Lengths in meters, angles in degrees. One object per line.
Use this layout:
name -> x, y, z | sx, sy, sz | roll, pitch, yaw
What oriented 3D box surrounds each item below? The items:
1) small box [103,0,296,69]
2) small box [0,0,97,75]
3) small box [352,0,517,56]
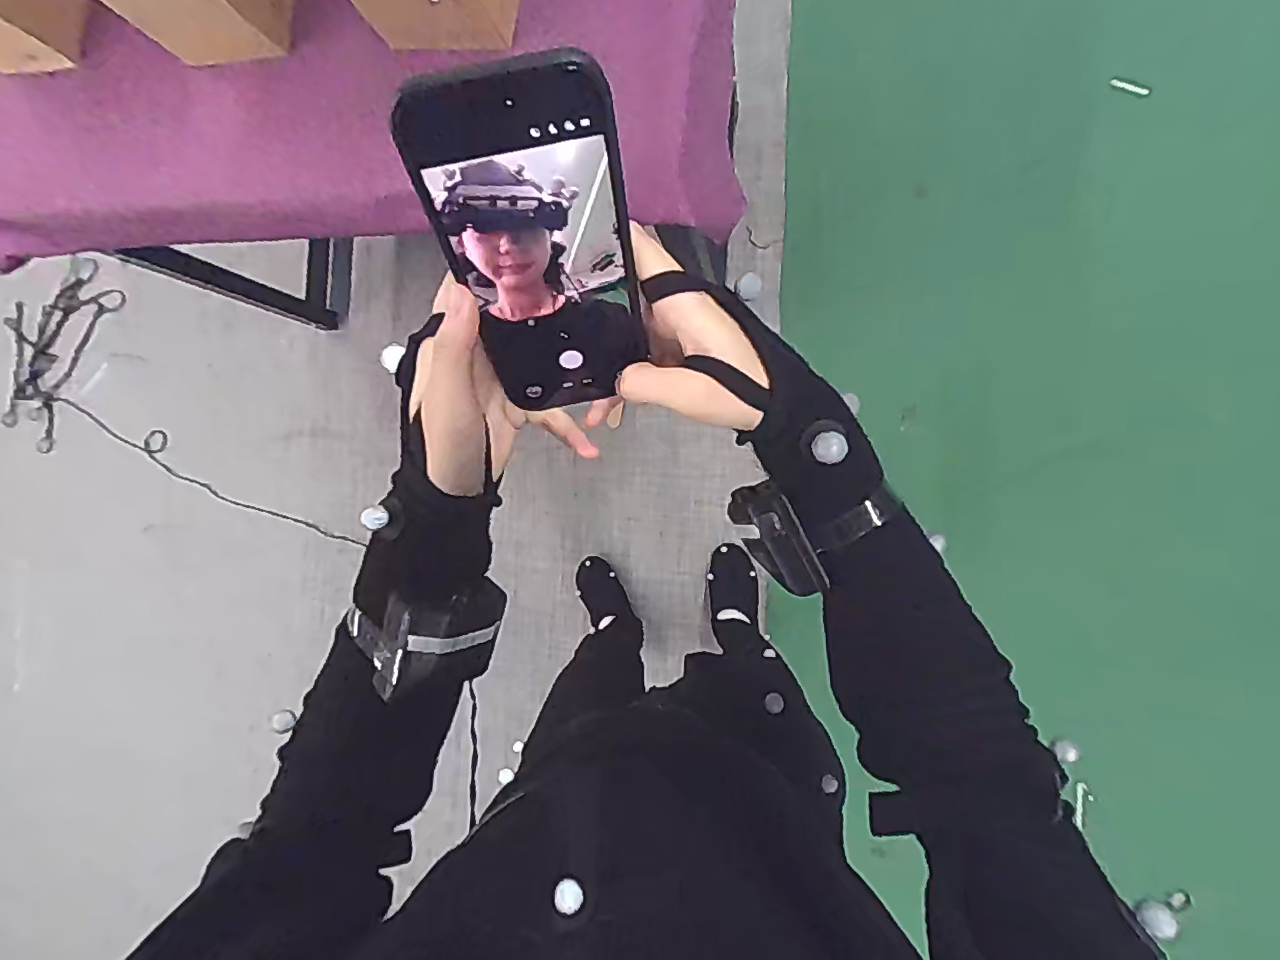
small box -> -0.569, -0.667, 0.687 | 0.179, 0.176, 0.168 | 6, 90, 14
small box -> -0.943, -0.725, 0.782 | 0.168, 0.176, 0.179 | 6, 90, 14
small box -> -0.241, -0.620, 0.607 | 0.179, 0.176, 0.168 | 12, 91, 14
